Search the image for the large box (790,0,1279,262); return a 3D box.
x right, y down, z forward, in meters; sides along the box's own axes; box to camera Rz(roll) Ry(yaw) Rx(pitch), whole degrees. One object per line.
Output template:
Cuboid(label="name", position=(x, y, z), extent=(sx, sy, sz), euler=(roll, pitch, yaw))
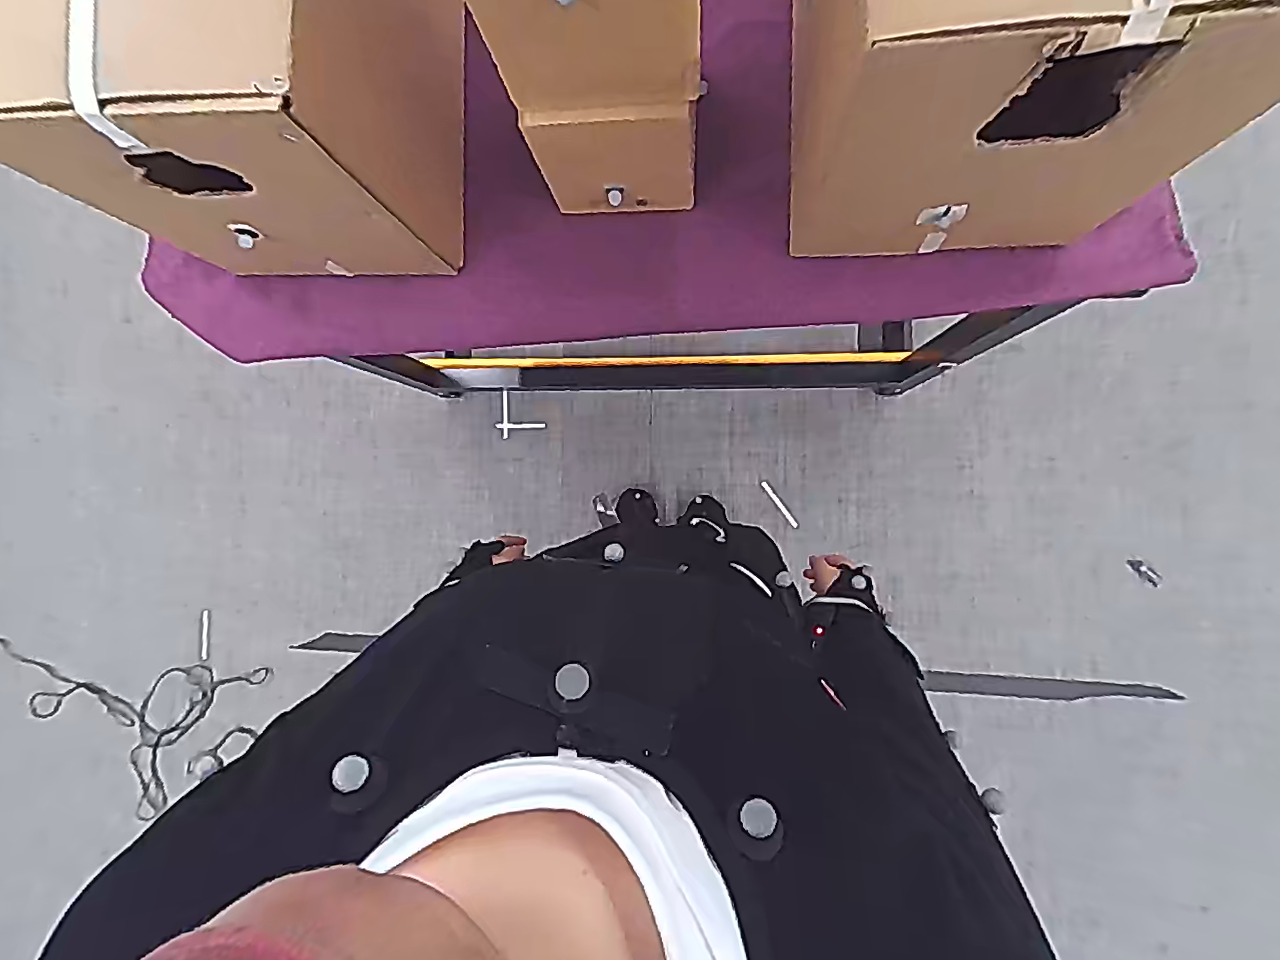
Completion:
Cuboid(label="large box", position=(0.311, -0.461, 0.482), extent=(0.320, 0.320, 0.408), euler=(0, 88, 6))
